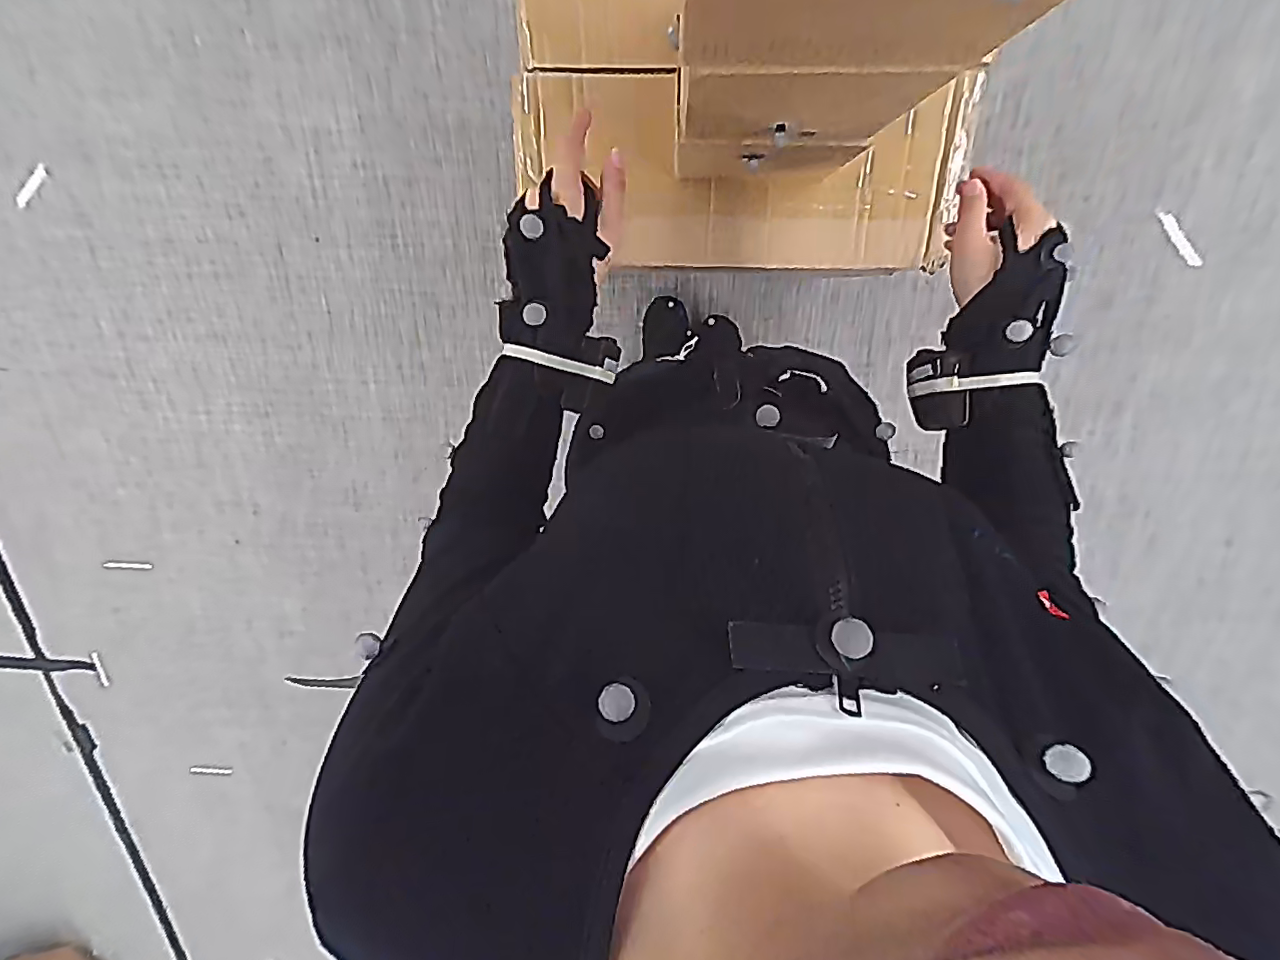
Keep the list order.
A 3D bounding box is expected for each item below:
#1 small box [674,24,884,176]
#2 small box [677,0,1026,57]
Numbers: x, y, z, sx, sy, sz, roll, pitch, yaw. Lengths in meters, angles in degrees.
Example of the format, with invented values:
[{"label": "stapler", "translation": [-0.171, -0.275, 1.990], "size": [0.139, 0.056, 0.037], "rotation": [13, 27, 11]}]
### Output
[{"label": "small box", "translation": [0.124, -0.404, 0.527], "size": [0.179, 0.176, 0.168], "rotation": [2, 110, 2]}, {"label": "small box", "translation": [0.107, -0.298, 0.215], "size": [0.179, 0.176, 0.168], "rotation": [2, 110, 3]}]
